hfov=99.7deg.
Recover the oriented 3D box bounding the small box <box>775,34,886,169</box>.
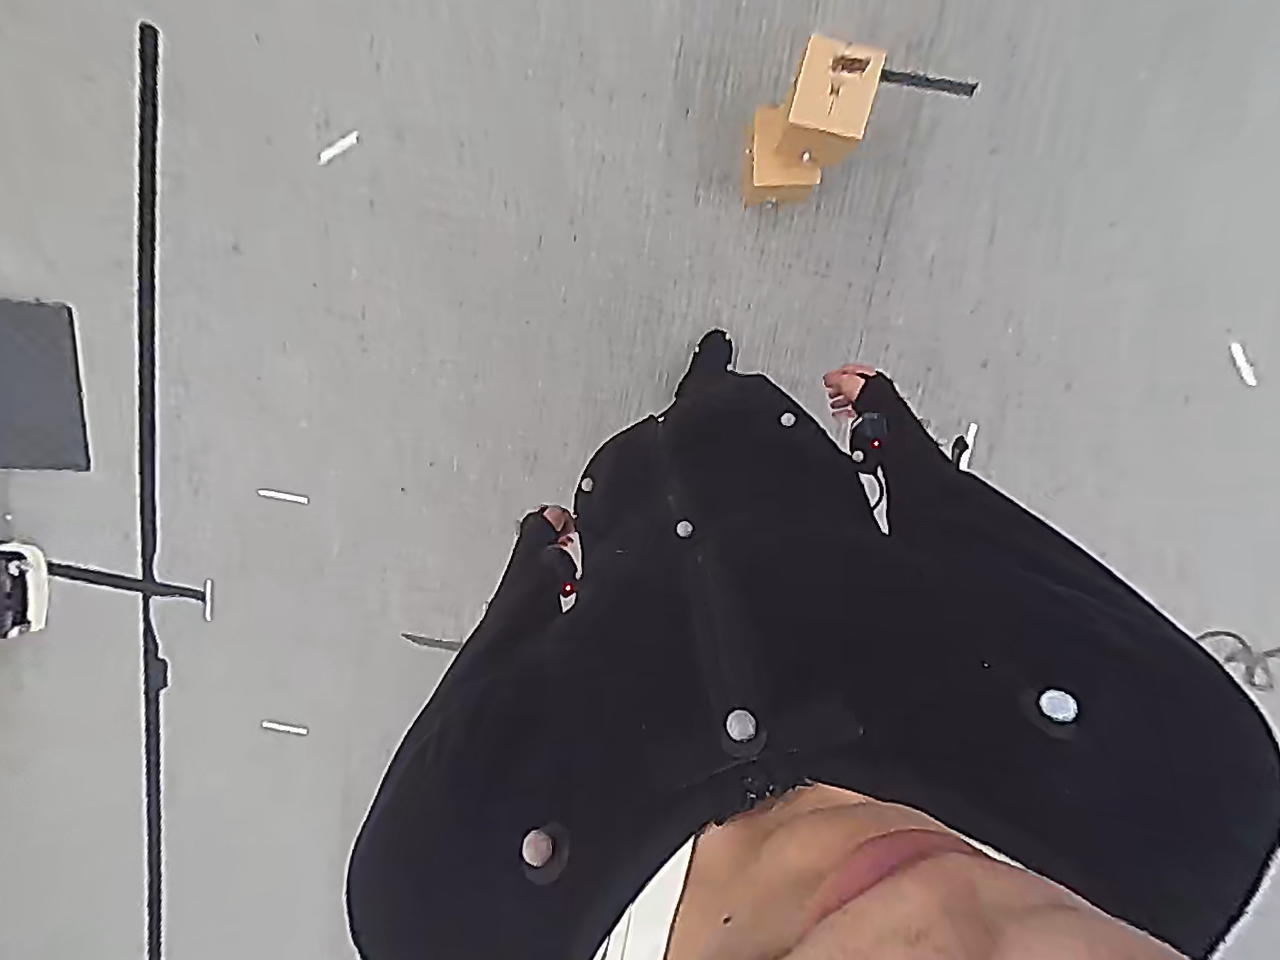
[{"bbox_3d":[0.416,-0.836,1.211,0.168,0.176,0.179,14,101,0],"label":"small box"}]

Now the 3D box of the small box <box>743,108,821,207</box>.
[{"bbox_3d":[0.358,-0.818,1.382,0.168,0.176,0.179,-1,101,2],"label":"small box"}]
